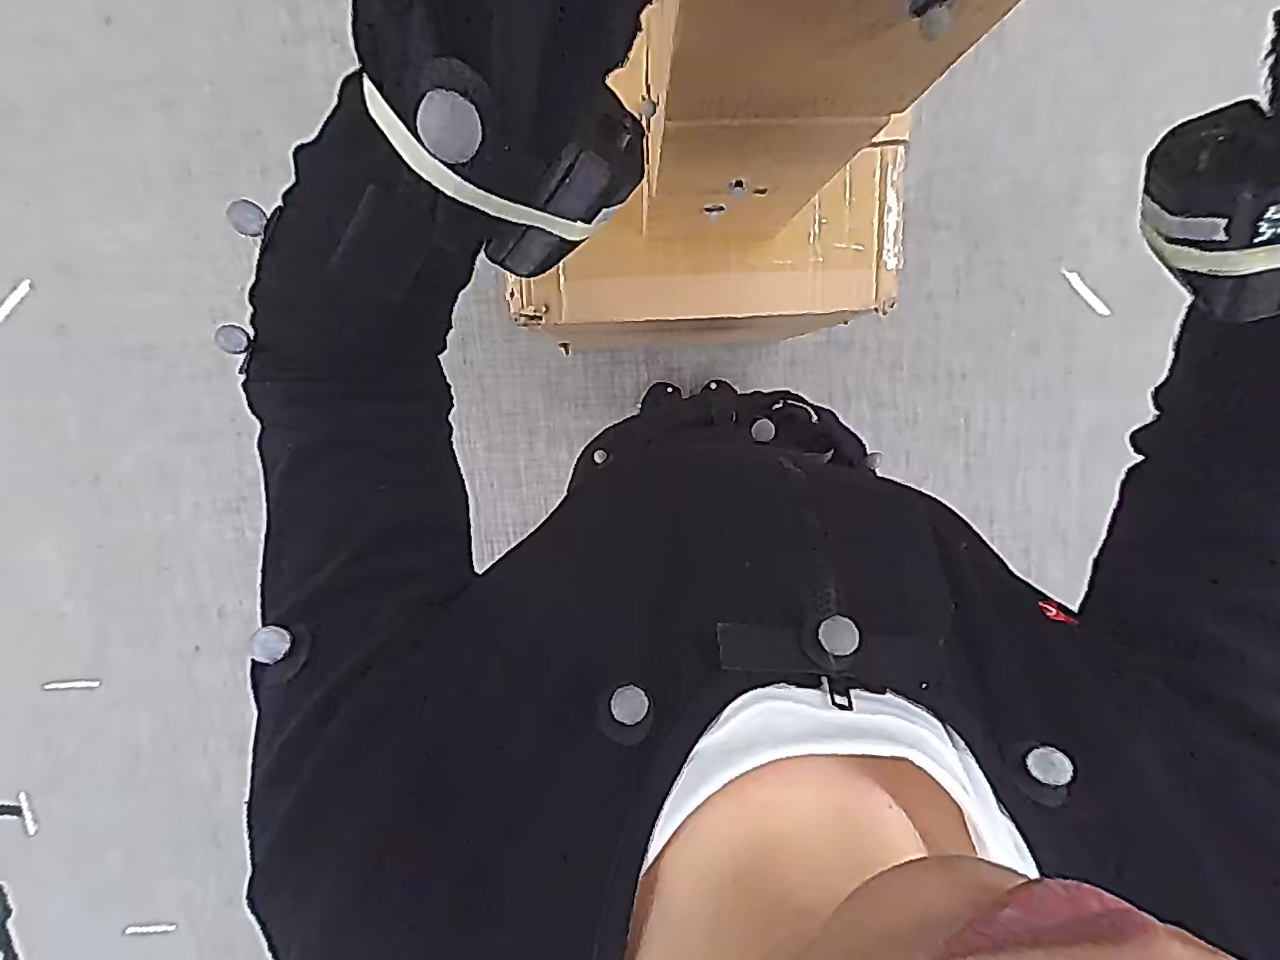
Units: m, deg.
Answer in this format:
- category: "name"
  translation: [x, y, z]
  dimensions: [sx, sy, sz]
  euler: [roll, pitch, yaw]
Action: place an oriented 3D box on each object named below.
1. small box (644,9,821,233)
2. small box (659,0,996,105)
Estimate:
- category: "small box"
  translation: [0.092, -0.387, 0.612]
  dimensions: [0.179, 0.176, 0.168]
  euler: [-1, 100, -1]
- category: "small box"
  translation: [0.102, -0.329, 0.287]
  dimensions: [0.179, 0.176, 0.168]
  euler: [-1, 101, 0]
